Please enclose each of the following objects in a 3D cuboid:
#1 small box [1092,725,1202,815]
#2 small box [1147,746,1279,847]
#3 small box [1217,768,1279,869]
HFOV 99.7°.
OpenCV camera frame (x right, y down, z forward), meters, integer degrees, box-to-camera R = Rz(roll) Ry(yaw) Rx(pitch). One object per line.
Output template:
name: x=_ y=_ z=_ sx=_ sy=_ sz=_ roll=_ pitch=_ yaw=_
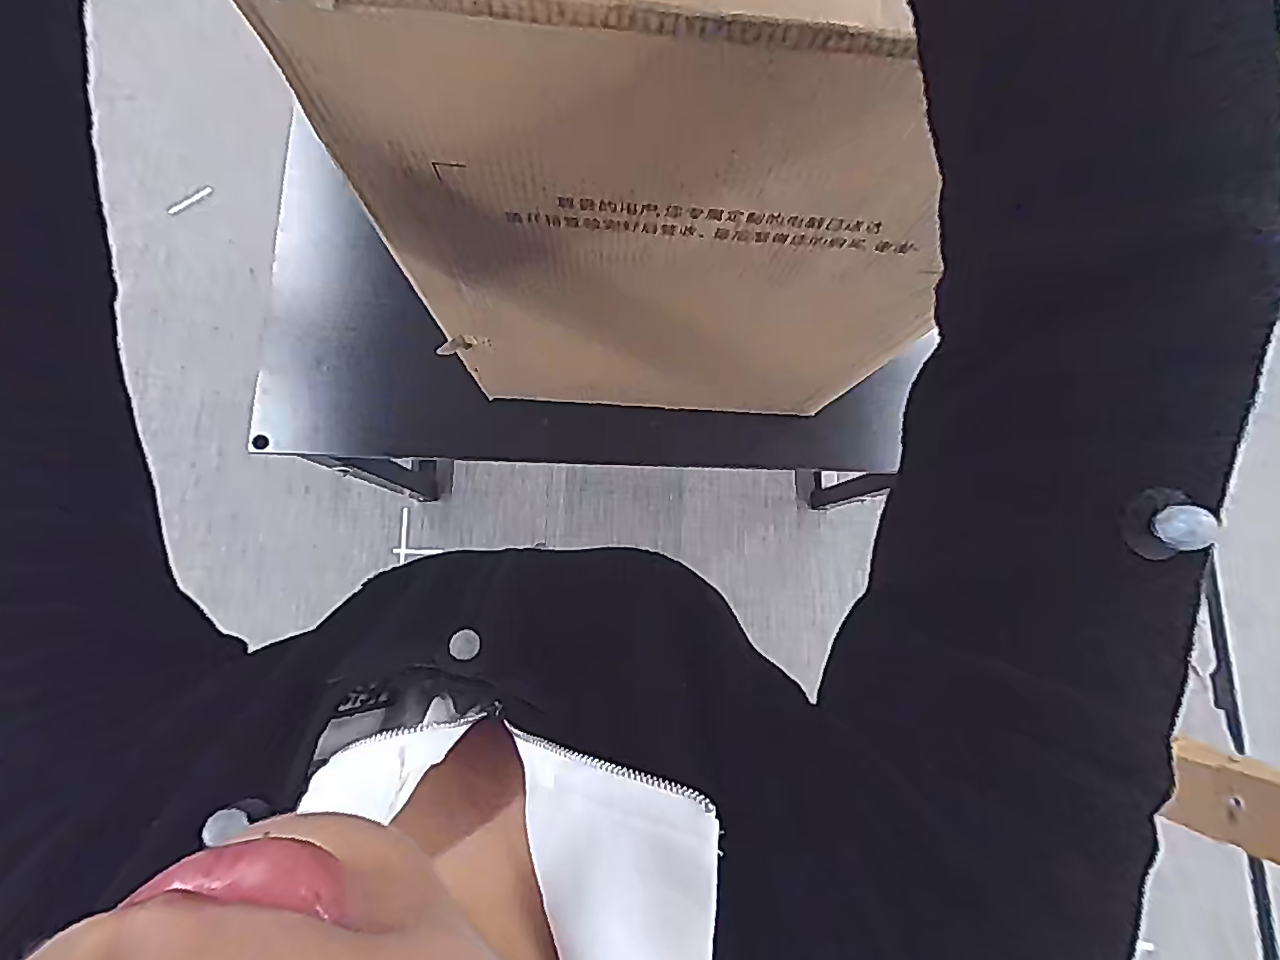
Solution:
small box: x=1.382 y=0.779 z=1.473 sx=0.168 sy=0.176 sz=0.179 roll=-2 pitch=82 yaw=-5
small box: x=1.396 y=0.759 z=1.311 sx=0.179 sy=0.176 sz=0.168 roll=2 pitch=81 yaw=-4
small box: x=1.402 y=0.732 z=1.150 sx=0.179 sy=0.176 sz=0.168 roll=7 pitch=80 yaw=-2
